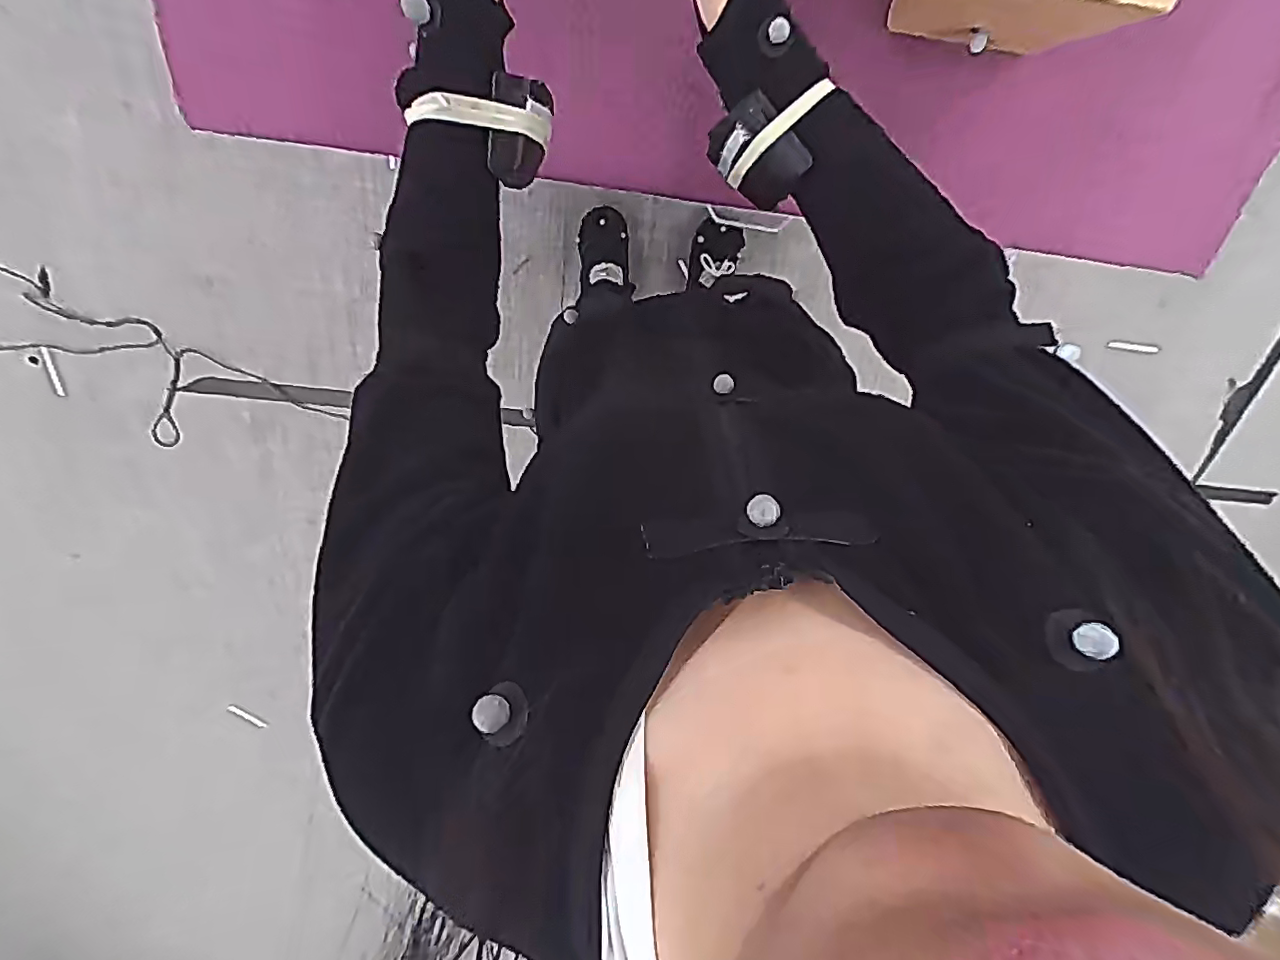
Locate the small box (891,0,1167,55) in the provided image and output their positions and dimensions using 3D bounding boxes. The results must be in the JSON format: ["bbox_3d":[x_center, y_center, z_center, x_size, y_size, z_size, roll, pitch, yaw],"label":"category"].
[{"bbox_3d":[0.345,-0.496,0.457,0.168,0.176,0.179,5,119,-6],"label":"small box"}]
